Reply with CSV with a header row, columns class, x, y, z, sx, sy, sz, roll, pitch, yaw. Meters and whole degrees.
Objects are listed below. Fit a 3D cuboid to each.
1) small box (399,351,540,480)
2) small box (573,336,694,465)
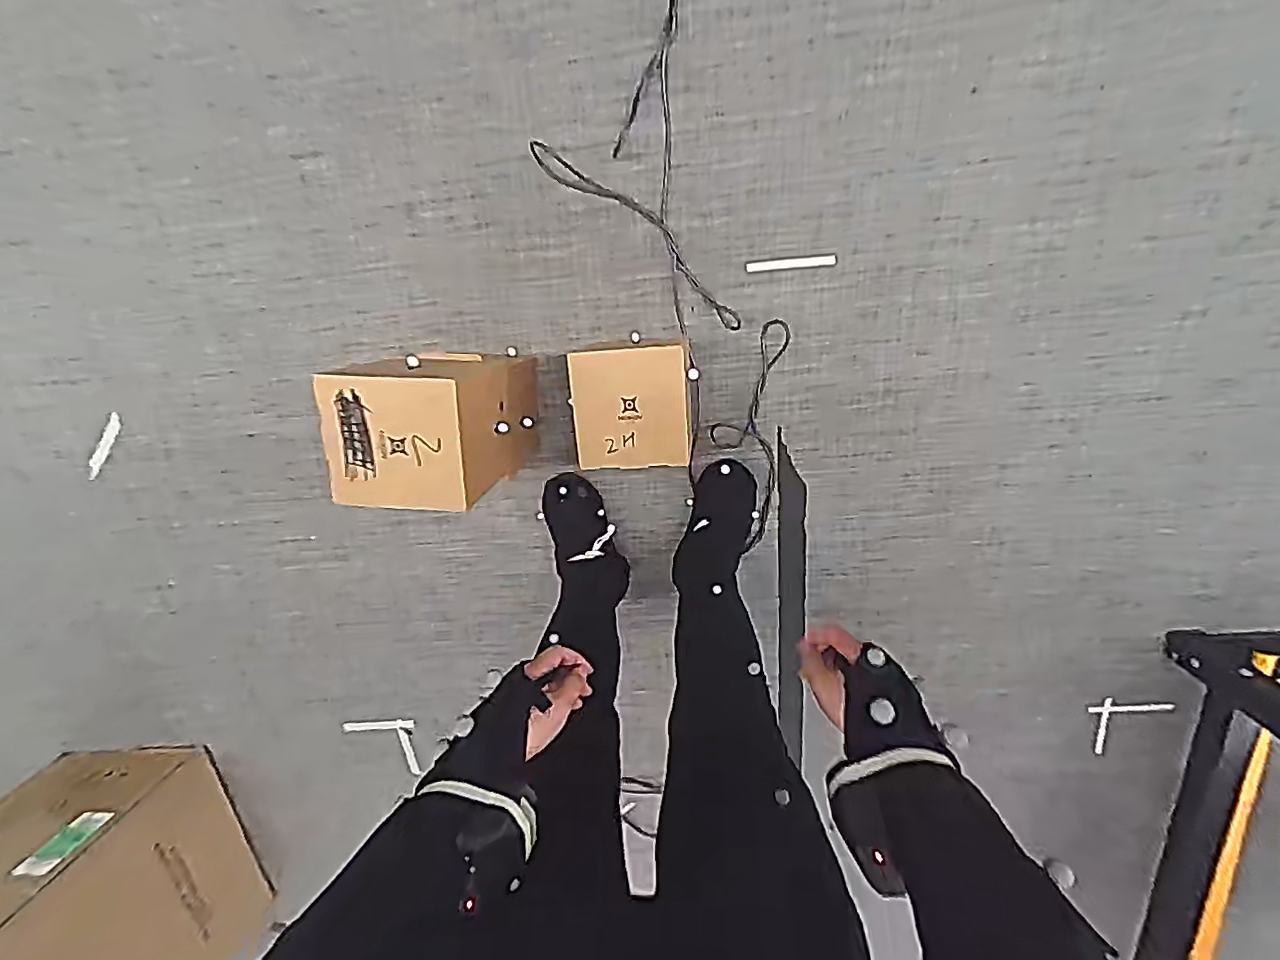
class,x,y,z,sx,sy,sz,roll,pitch,yaw
small box,-0.264,-0.112,0.878,0.168,0.176,0.179,3,109,5
small box,-0.001,-0.131,0.846,0.168,0.176,0.179,-1,109,8
